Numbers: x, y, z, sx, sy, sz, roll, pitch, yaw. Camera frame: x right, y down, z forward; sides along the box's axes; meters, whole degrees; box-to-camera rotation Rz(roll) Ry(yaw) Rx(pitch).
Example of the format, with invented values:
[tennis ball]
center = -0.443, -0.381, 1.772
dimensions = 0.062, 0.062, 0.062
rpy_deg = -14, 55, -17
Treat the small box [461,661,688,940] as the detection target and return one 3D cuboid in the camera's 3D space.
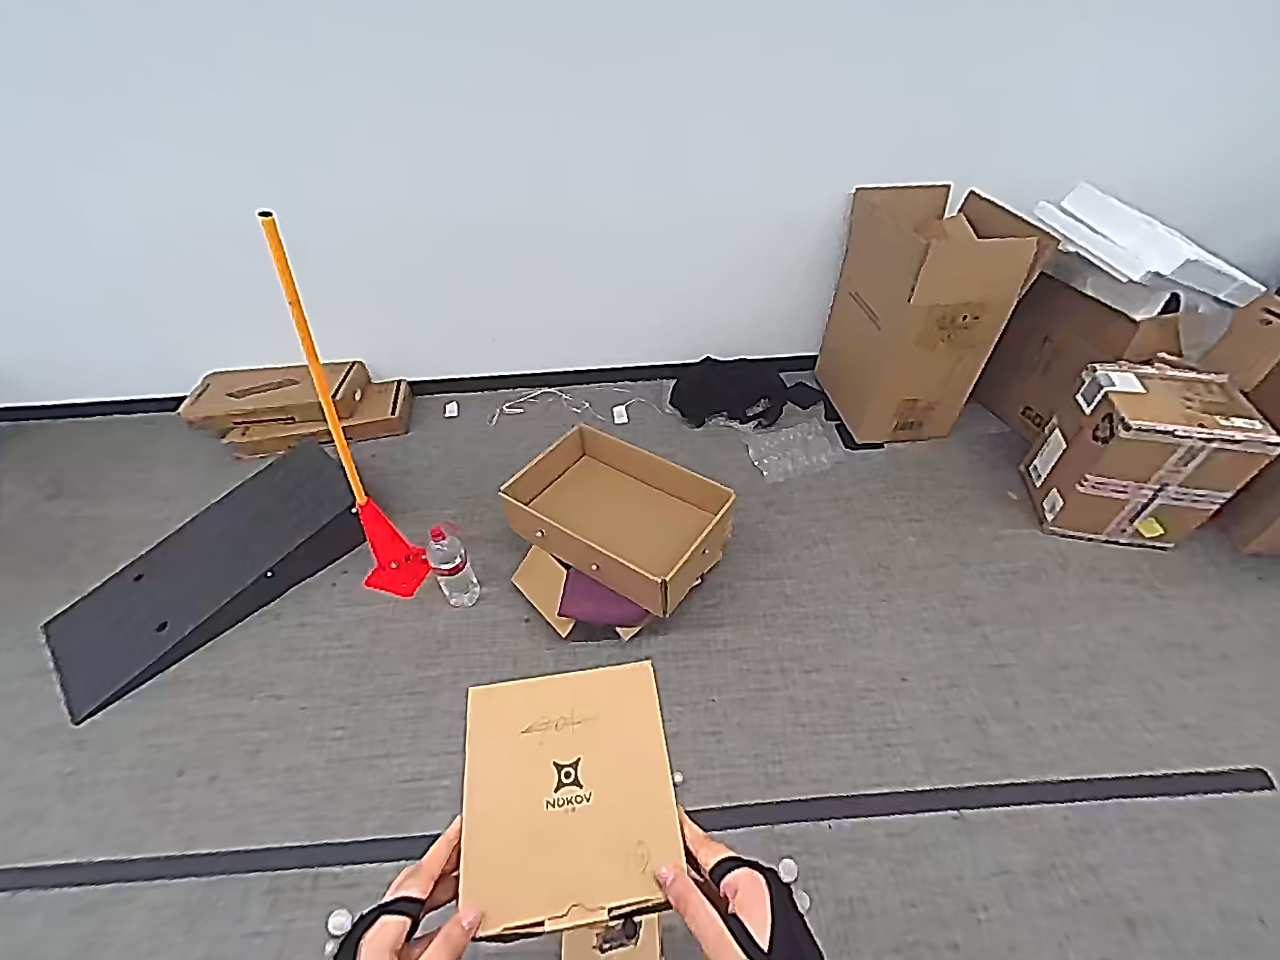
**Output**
[small box]
center = -0.057, 0.291, 0.493
dimensions = 0.168, 0.176, 0.179
rpy_deg = -6, 49, -7
